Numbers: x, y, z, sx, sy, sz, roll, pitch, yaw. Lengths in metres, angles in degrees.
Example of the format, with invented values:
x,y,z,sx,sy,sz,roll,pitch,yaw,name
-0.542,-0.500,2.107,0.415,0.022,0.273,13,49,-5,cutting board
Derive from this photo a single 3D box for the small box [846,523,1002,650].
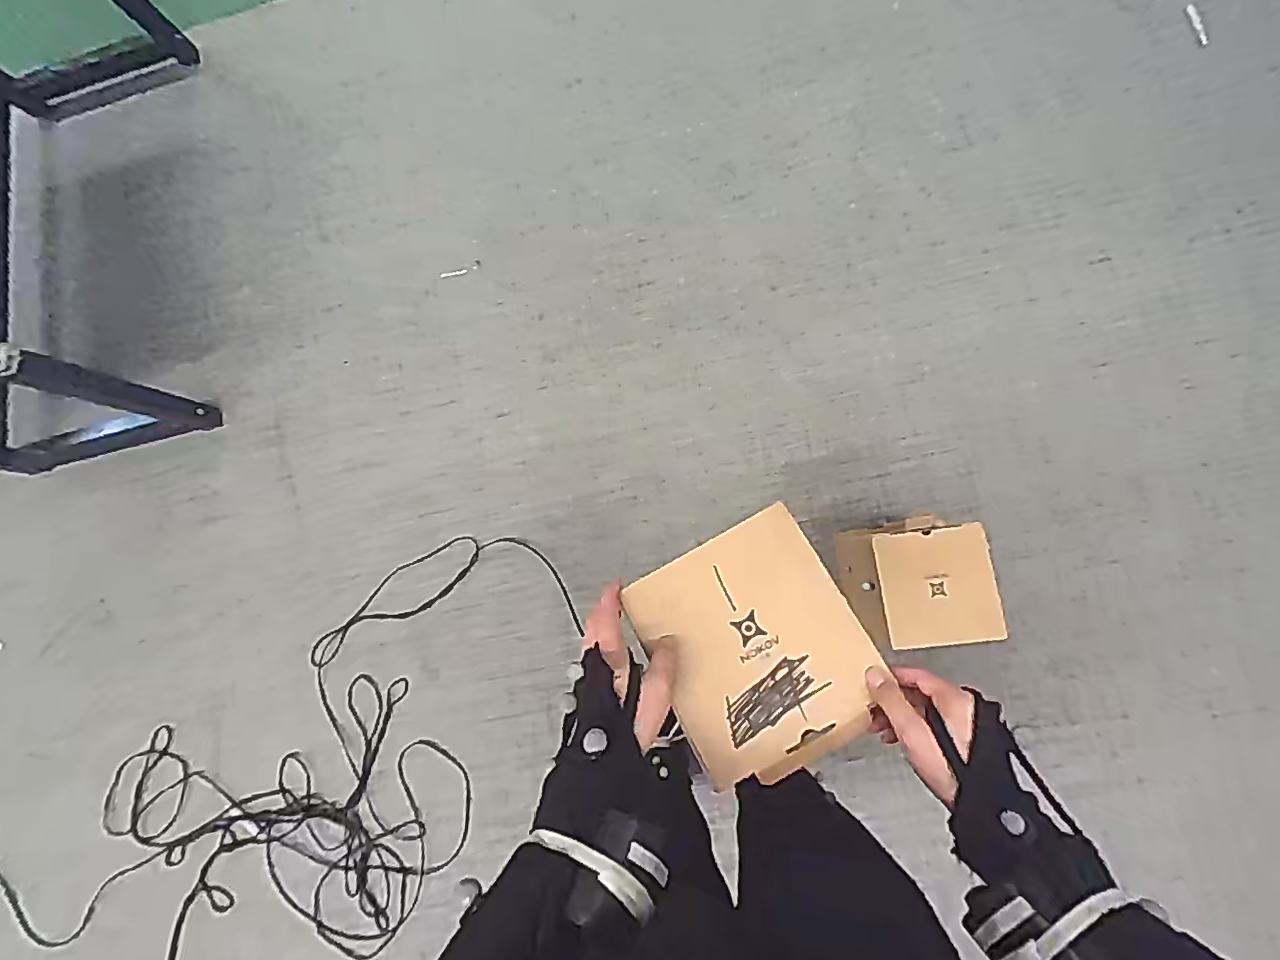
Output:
x,y,z,sx,sy,sz,roll,pitch,yaw,name
0.454,0.170,0.892,0.168,0.176,0.179,-8,80,7,small box

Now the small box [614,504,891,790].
x,y,z,sx,sy,sz,roll,pitch,yaw,name
0.094,0.146,0.515,0.168,0.176,0.179,-28,76,-3,small box

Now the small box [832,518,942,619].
x,y,z,sx,sy,sz,roll,pitch,yaw,name
0.486,0.178,1.053,0.168,0.176,0.179,-9,80,7,small box
